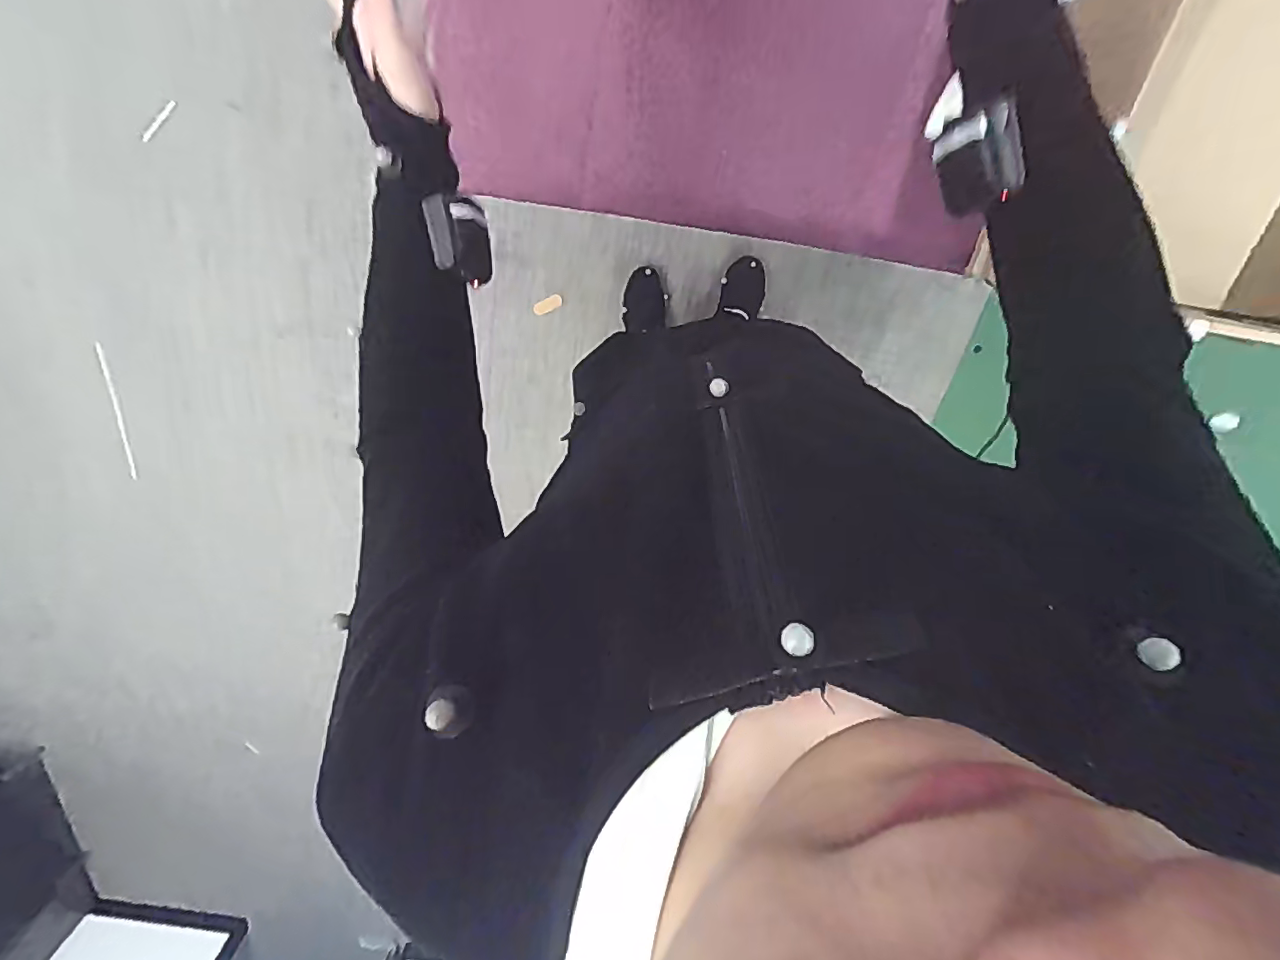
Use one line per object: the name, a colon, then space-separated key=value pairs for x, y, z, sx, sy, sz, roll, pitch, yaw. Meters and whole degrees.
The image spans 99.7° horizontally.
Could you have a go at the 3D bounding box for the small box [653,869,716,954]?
small box: x=0.144 y=1.422 z=1.790 sx=0.179 sy=0.176 sz=0.168 roll=-13 pitch=114 yaw=8

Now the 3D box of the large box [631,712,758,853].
large box: x=0.207 y=1.184 z=2.129 sx=0.408 sy=0.320 sz=0.320 roll=-20 pitch=114 yaw=10
